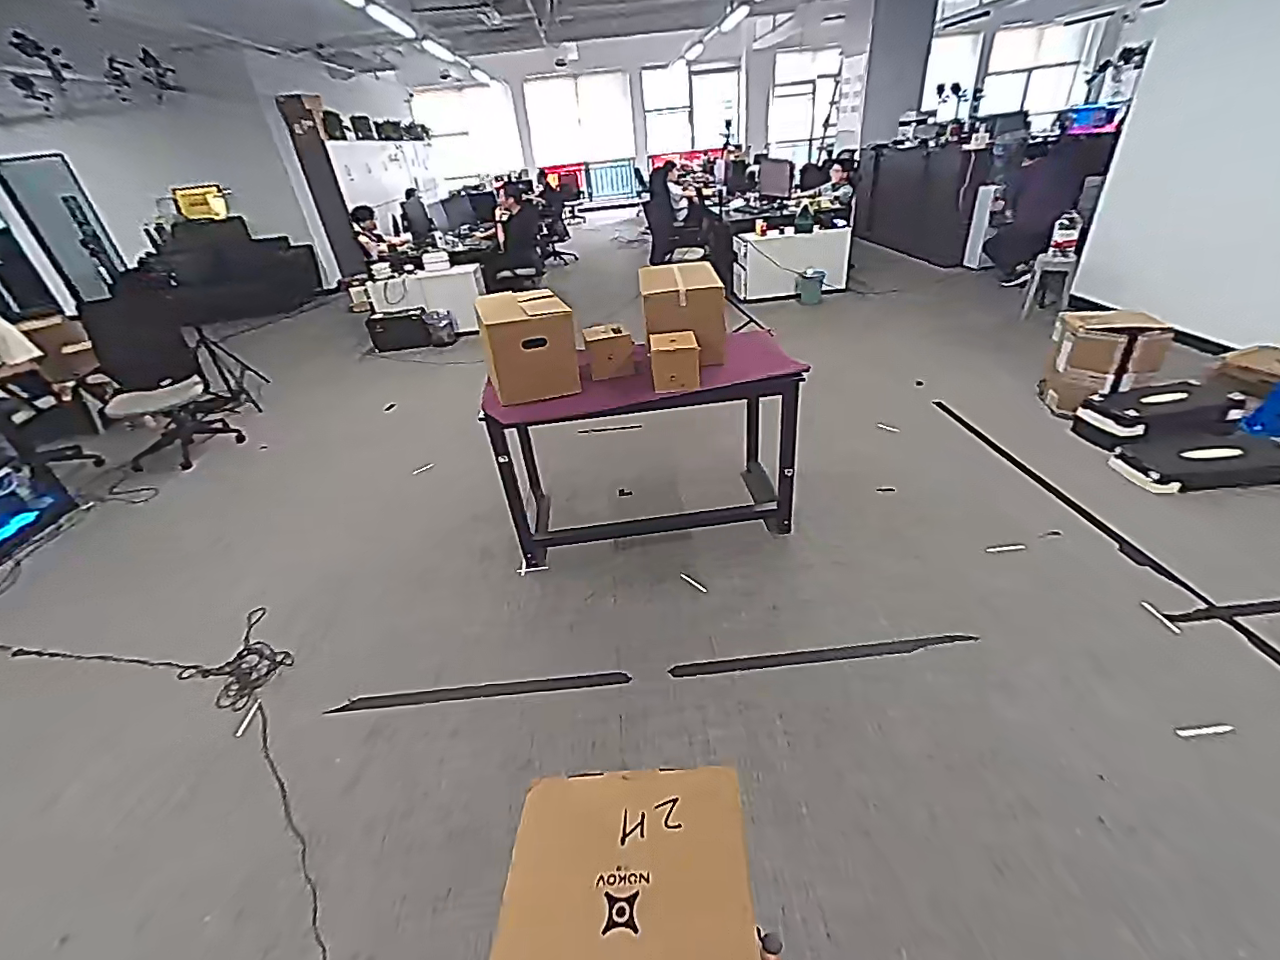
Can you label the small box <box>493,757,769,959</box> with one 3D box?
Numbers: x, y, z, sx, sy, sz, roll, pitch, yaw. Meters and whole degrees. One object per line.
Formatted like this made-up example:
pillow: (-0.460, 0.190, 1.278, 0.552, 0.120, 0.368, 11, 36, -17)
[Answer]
small box: (0.006, 0.332, 0.383, 0.168, 0.176, 0.179, -6, 27, 6)
